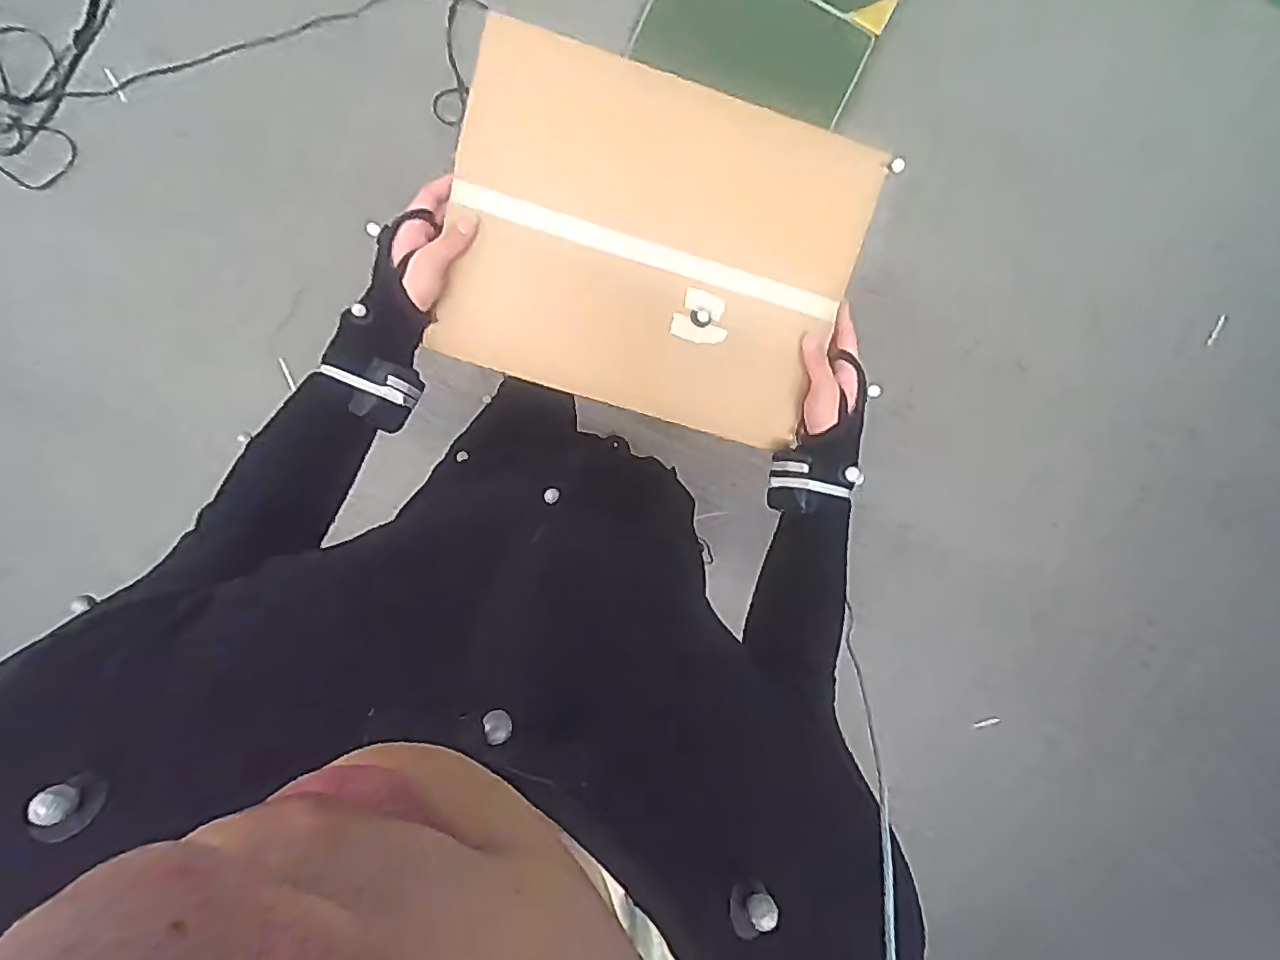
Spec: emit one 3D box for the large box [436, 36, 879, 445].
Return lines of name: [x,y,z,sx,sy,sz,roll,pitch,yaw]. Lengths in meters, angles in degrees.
large box: [0.005,-0.261,0.703,0.408,0.320,0.320,15,102,-6]
